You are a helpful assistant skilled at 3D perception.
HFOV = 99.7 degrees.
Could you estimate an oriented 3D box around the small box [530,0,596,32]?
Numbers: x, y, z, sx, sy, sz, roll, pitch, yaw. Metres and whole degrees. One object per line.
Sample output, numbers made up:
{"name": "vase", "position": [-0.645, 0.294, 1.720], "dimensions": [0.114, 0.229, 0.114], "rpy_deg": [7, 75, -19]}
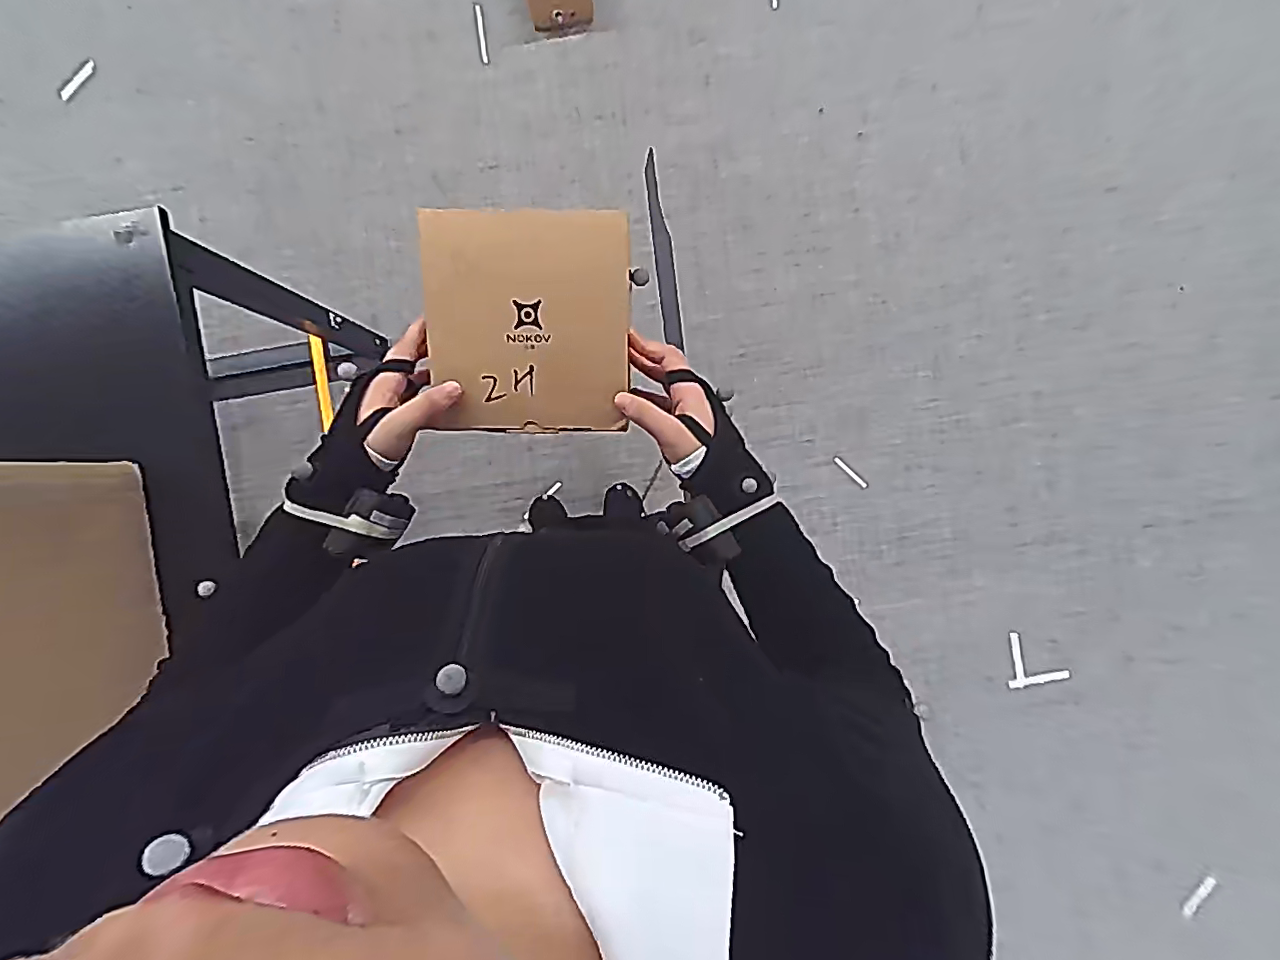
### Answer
{"name": "small box", "position": [-0.213, -1.304, 1.376], "dimensions": [0.168, 0.176, 0.179], "rpy_deg": [-12, 93, 1]}
